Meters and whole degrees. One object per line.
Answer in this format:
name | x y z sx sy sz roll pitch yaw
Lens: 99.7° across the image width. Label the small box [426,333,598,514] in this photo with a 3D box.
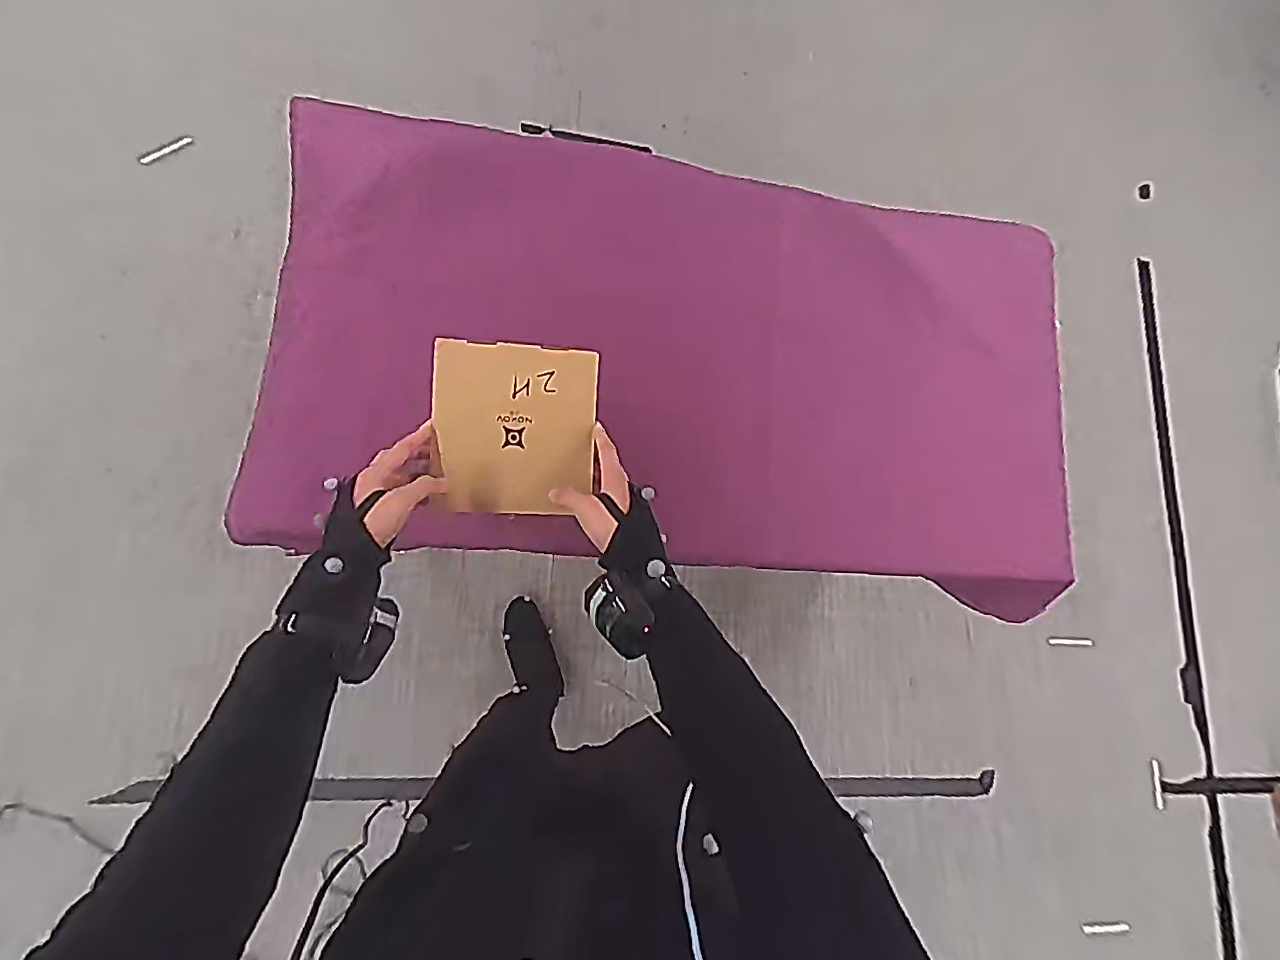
small box | -0.142 -0.058 0.630 0.168 0.176 0.179 3 91 -10
